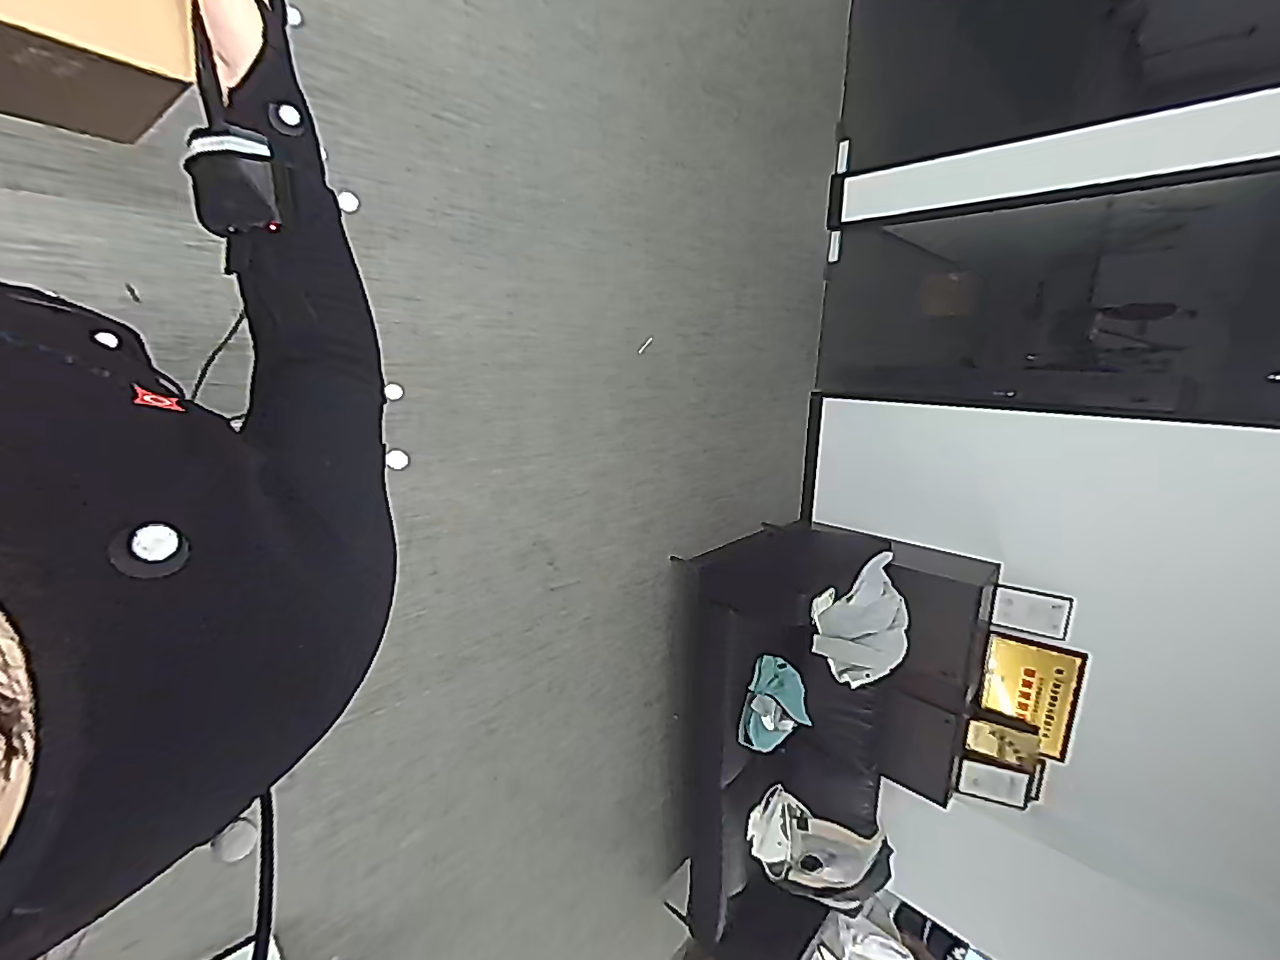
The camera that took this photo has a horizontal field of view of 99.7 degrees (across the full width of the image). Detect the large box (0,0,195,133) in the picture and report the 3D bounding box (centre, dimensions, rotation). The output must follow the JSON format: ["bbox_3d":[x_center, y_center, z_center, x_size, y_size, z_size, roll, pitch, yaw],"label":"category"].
[{"bbox_3d":[-0.552,-0.449,0.300,0.408,0.320,0.320,-11,113,-49],"label":"large box"}]
